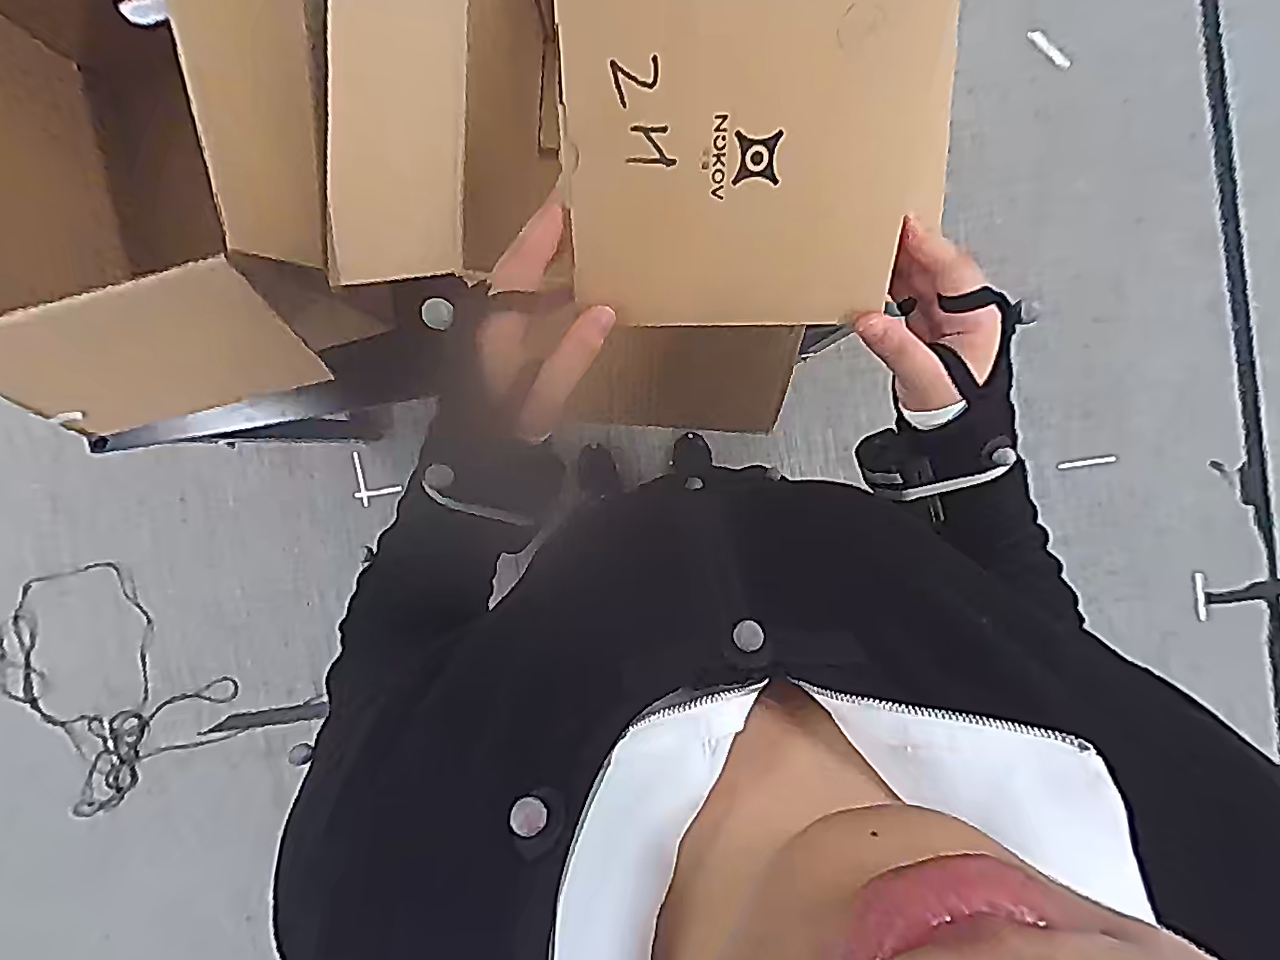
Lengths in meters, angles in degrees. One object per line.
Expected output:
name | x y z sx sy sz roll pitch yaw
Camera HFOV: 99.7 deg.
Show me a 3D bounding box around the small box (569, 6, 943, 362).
small box | 0.052 -0.183 0.355 0.179 0.176 0.168 0 120 0
